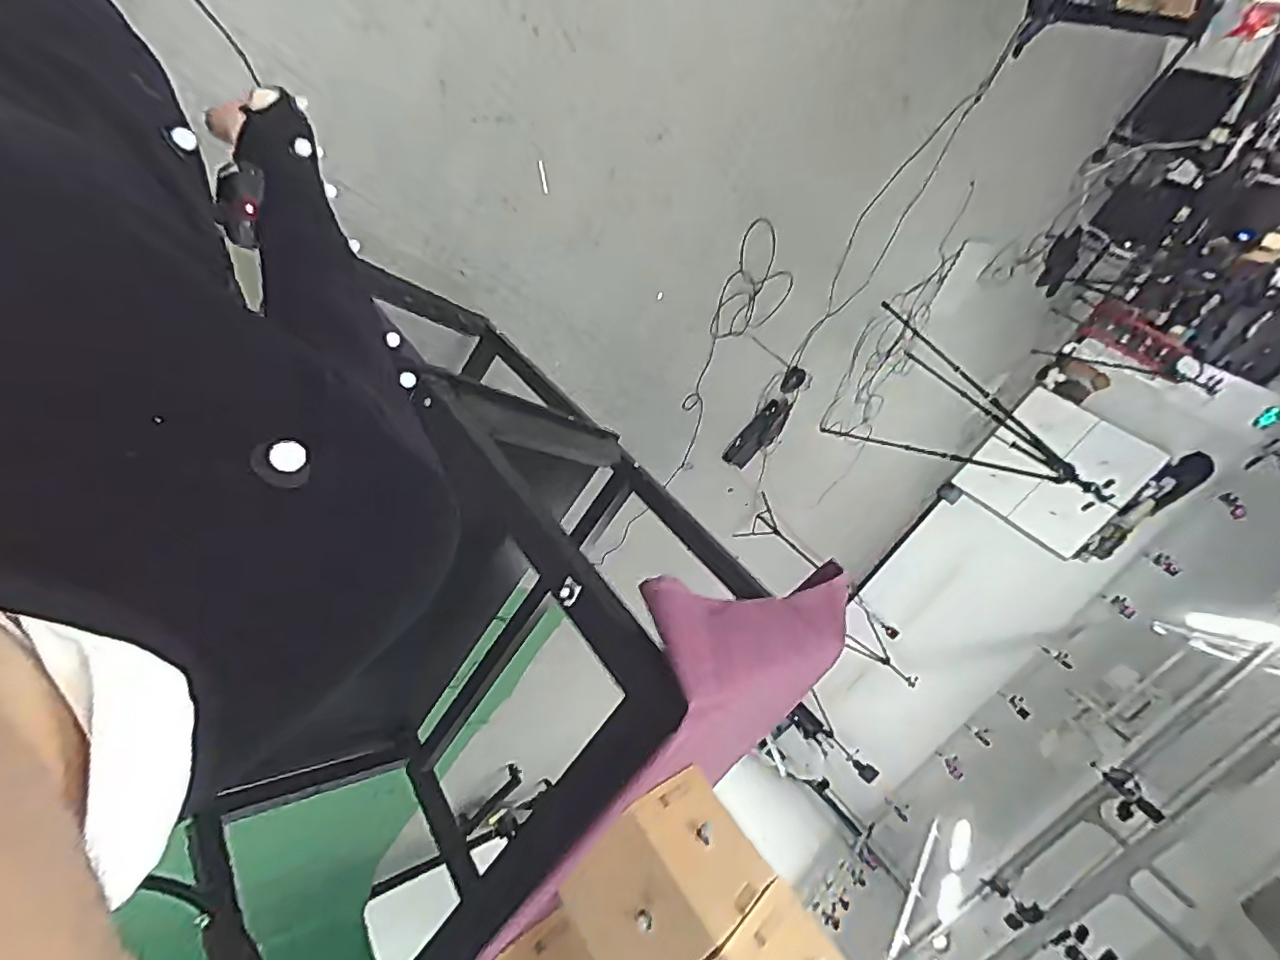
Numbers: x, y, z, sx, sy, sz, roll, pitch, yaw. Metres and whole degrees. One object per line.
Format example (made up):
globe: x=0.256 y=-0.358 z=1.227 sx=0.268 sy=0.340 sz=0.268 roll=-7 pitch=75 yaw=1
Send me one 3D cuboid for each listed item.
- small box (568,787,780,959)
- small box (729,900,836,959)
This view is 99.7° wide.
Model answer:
small box: x=0.038 y=0.526 z=0.687 sx=0.168 sy=0.176 sz=0.179 roll=12 pitch=117 yaw=-54
small box: x=0.140 y=0.623 z=0.604 sx=0.168 sy=0.176 sz=0.179 roll=10 pitch=119 yaw=-54
